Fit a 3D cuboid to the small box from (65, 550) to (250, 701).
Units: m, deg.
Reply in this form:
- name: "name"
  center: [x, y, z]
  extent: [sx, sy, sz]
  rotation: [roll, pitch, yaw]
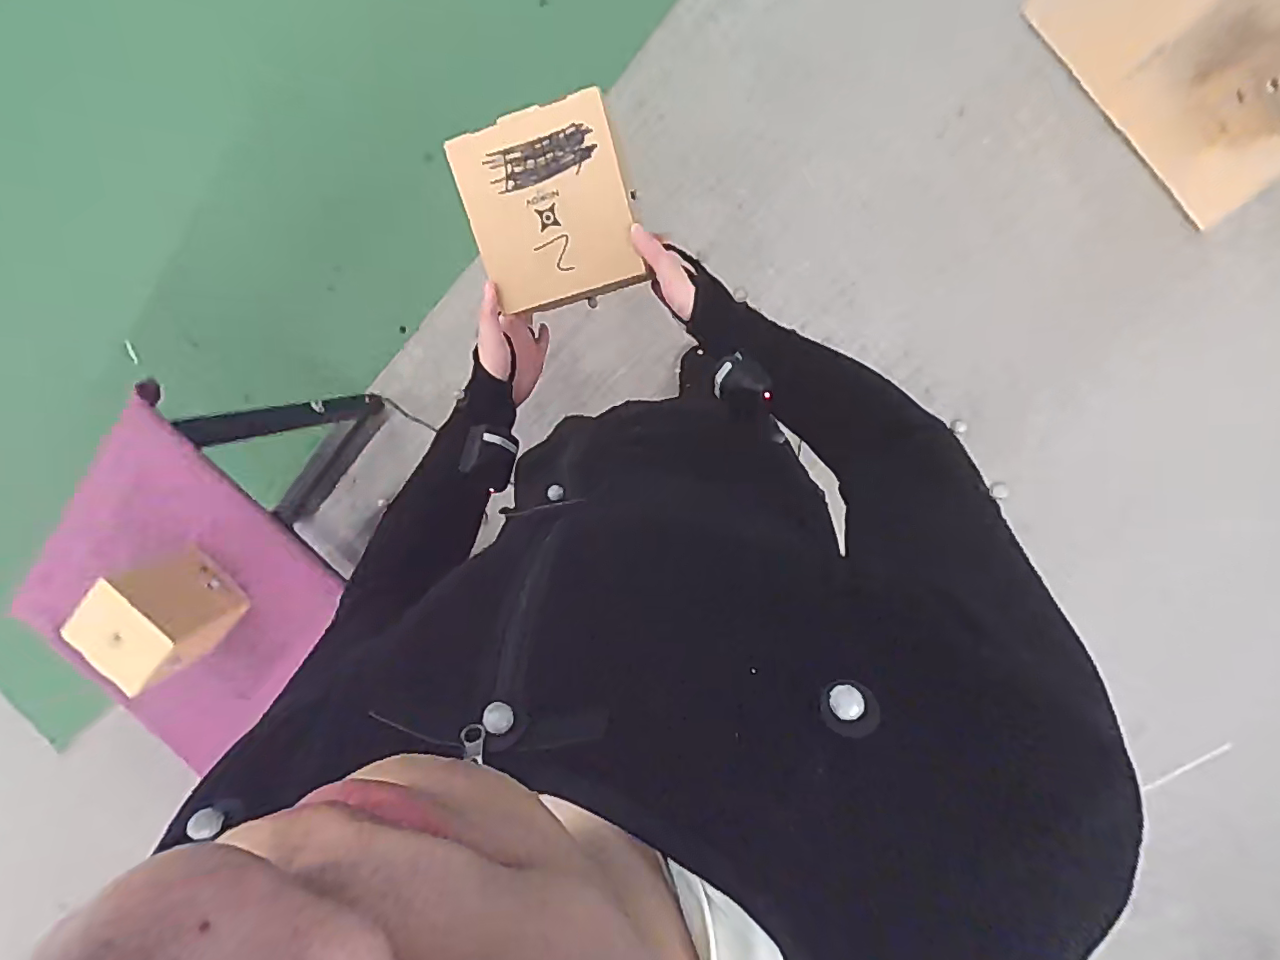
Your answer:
- name: "small box"
  center: [-0.886, 0.263, 1.009]
  extent: [0.179, 0.176, 0.168]
  rotation: [-42, 95, 17]
